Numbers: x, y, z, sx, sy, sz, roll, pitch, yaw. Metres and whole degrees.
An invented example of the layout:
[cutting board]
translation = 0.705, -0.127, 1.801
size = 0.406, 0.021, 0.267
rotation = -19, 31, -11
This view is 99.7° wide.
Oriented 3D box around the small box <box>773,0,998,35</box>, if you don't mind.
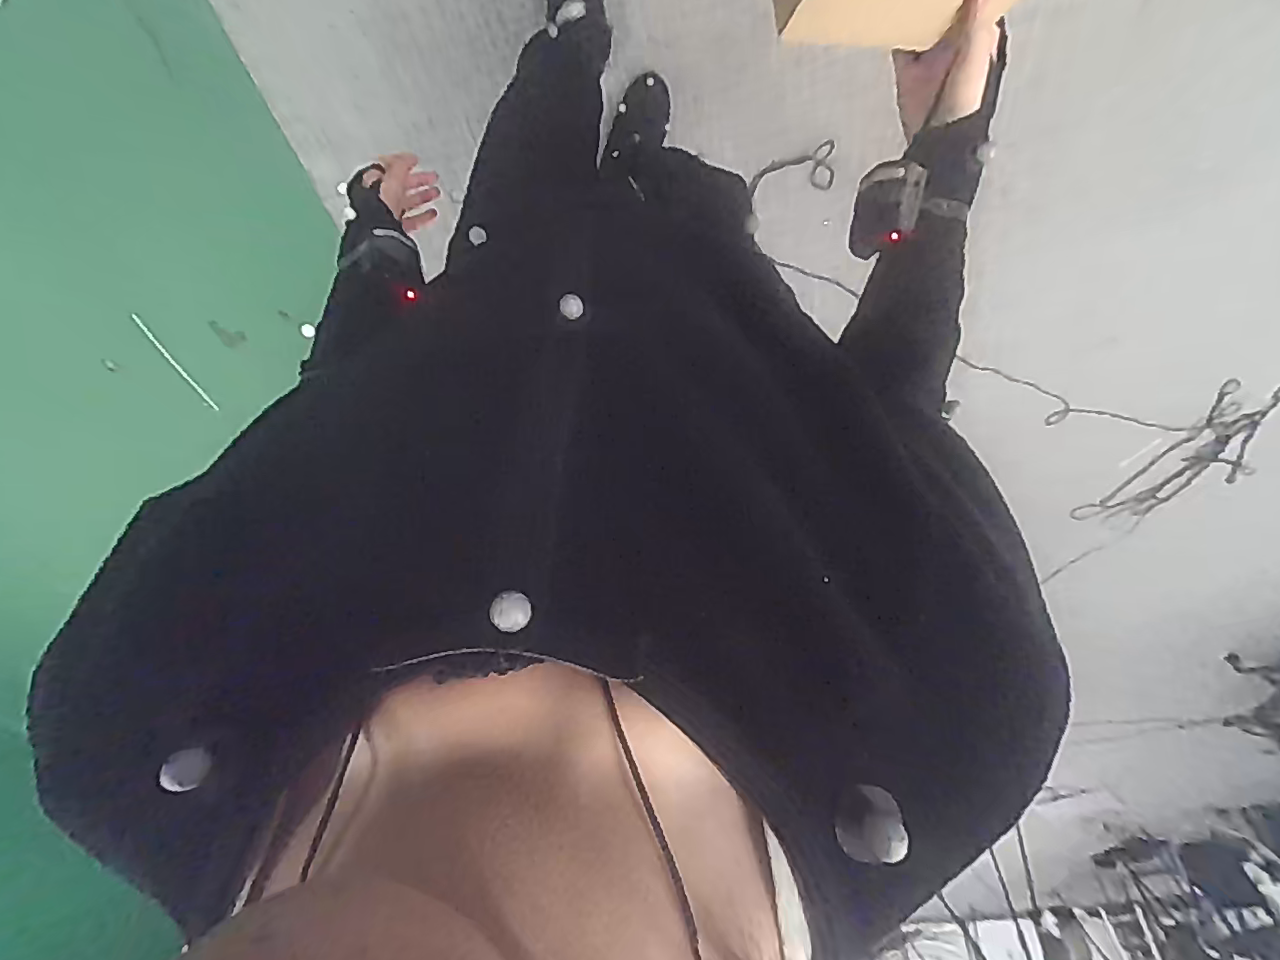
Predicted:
[small box]
translation = 0.182, -0.419, 0.315
size = 0.168, 0.176, 0.179
rotation = -8, 179, -15
